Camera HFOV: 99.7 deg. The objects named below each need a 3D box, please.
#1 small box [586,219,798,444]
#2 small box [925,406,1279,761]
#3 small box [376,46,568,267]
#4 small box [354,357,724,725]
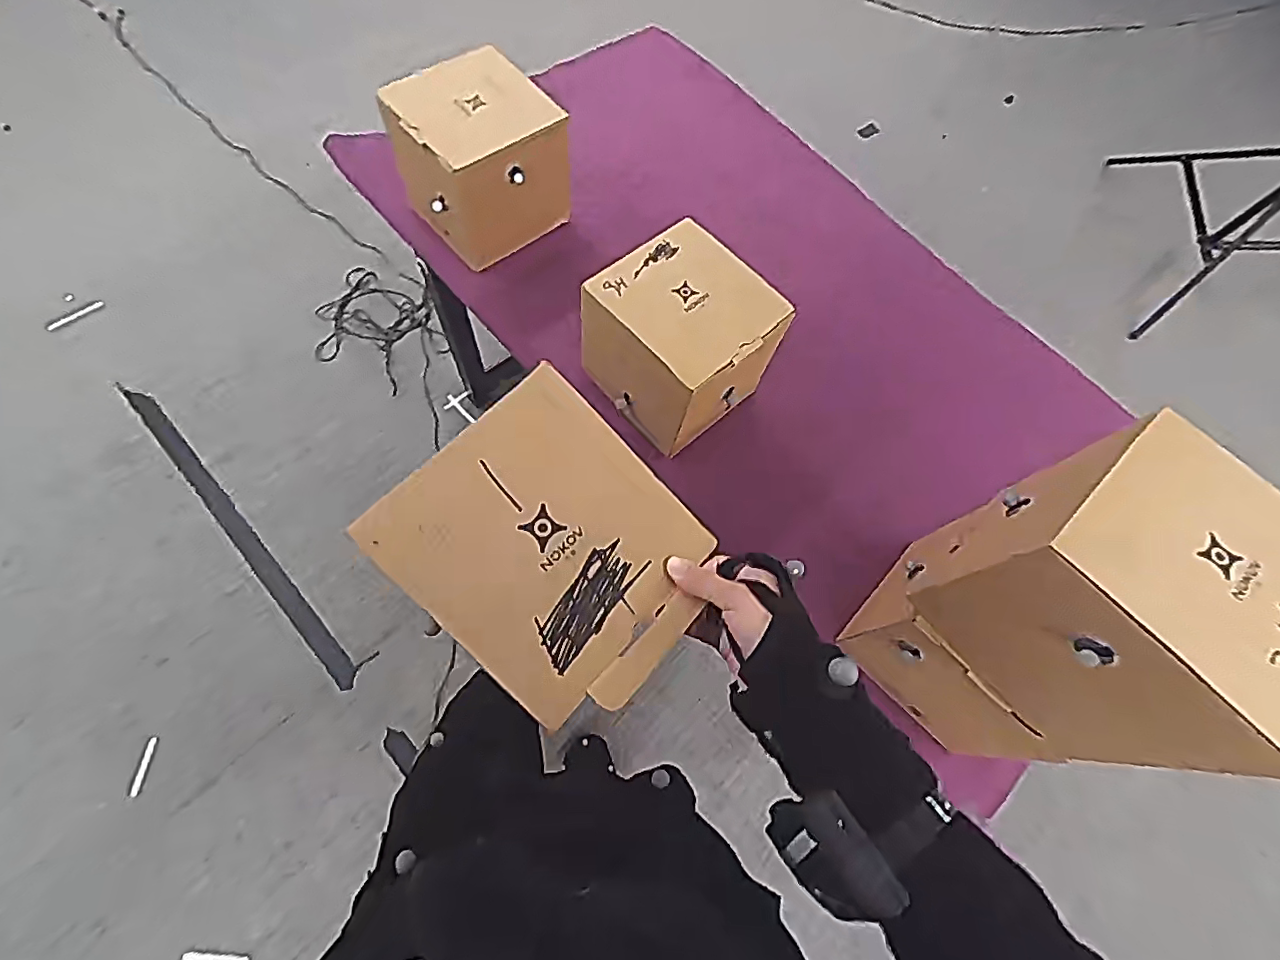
[{"bbox_3d":[0.051,-0.165,0.657,0.168,0.176,0.179,-40,77,-18],"label":"small box"},{"bbox_3d":[0.365,0.084,0.410,0.168,0.176,0.179,-38,76,-19],"label":"small box"},{"bbox_3d":[-0.213,-0.430,0.736,0.179,0.176,0.168,-40,79,-20],"label":"small box"},{"bbox_3d":[-0.076,0.044,0.413,0.179,0.176,0.168,47,69,-6],"label":"small box"}]
